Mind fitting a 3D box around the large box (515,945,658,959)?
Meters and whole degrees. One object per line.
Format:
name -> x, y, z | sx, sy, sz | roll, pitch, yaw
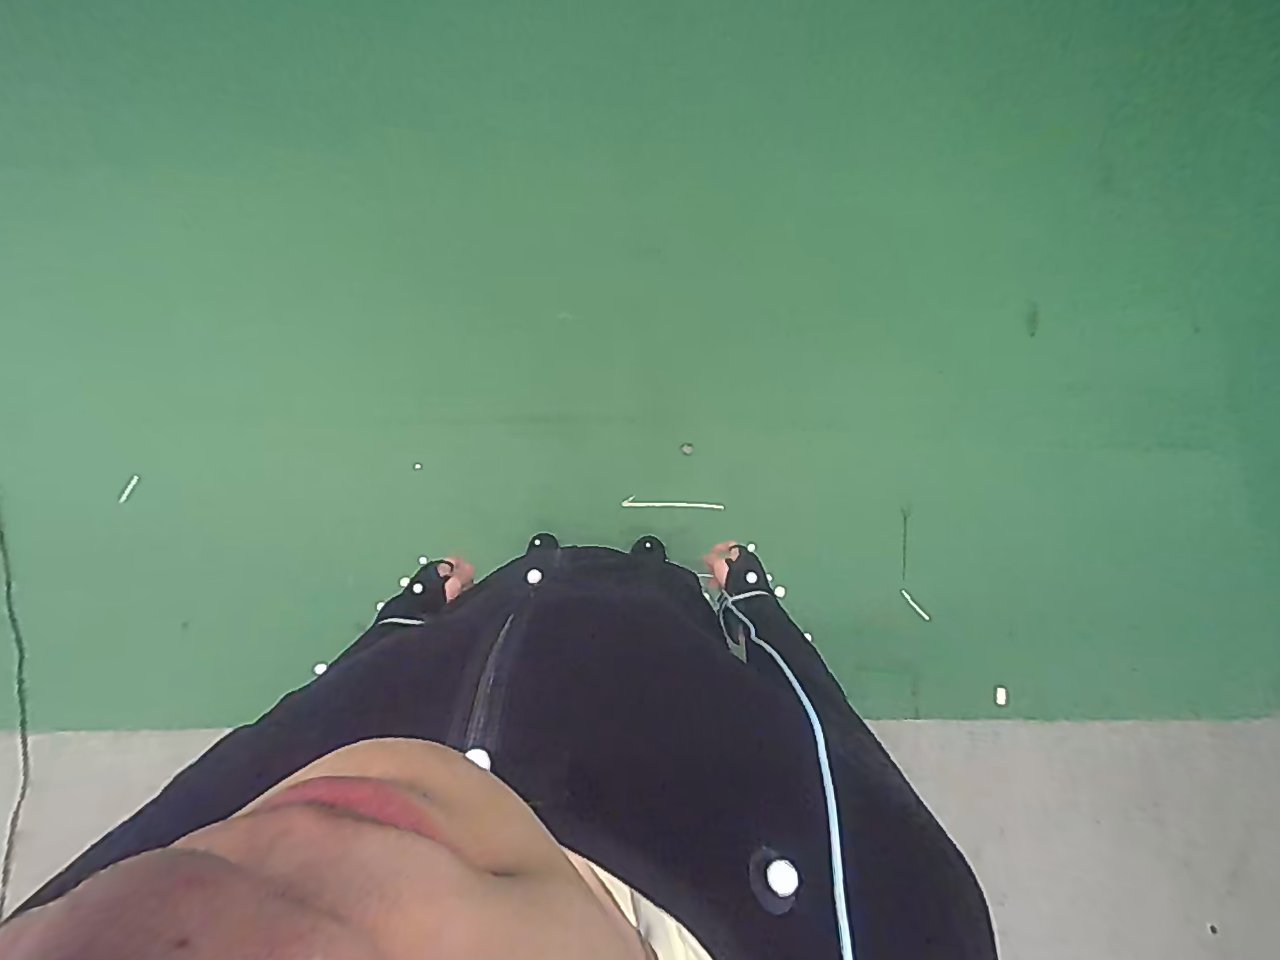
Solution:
large box -> -0.140, 1.456, 1.361 | 0.408, 0.320, 0.320 | -1, 84, -4
